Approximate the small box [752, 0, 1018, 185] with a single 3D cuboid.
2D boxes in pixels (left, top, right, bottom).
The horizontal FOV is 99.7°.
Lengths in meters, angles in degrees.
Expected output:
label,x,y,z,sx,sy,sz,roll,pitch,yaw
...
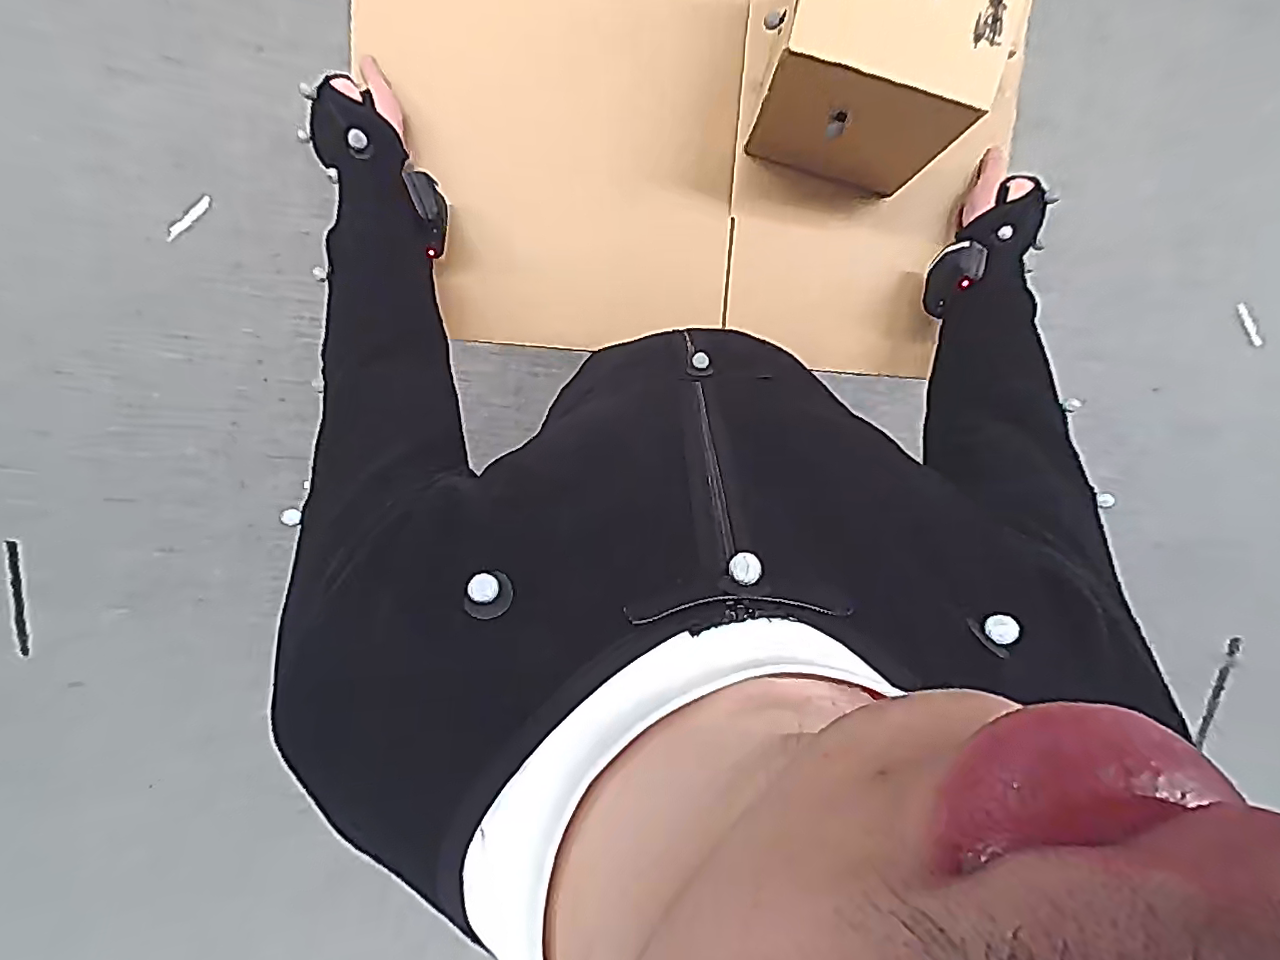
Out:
label,x,y,z,sx,sy,sz,roll,pitch,yaw
small box,0.219,-0.410,0.509,0.179,0.176,0.168,15,97,-1
